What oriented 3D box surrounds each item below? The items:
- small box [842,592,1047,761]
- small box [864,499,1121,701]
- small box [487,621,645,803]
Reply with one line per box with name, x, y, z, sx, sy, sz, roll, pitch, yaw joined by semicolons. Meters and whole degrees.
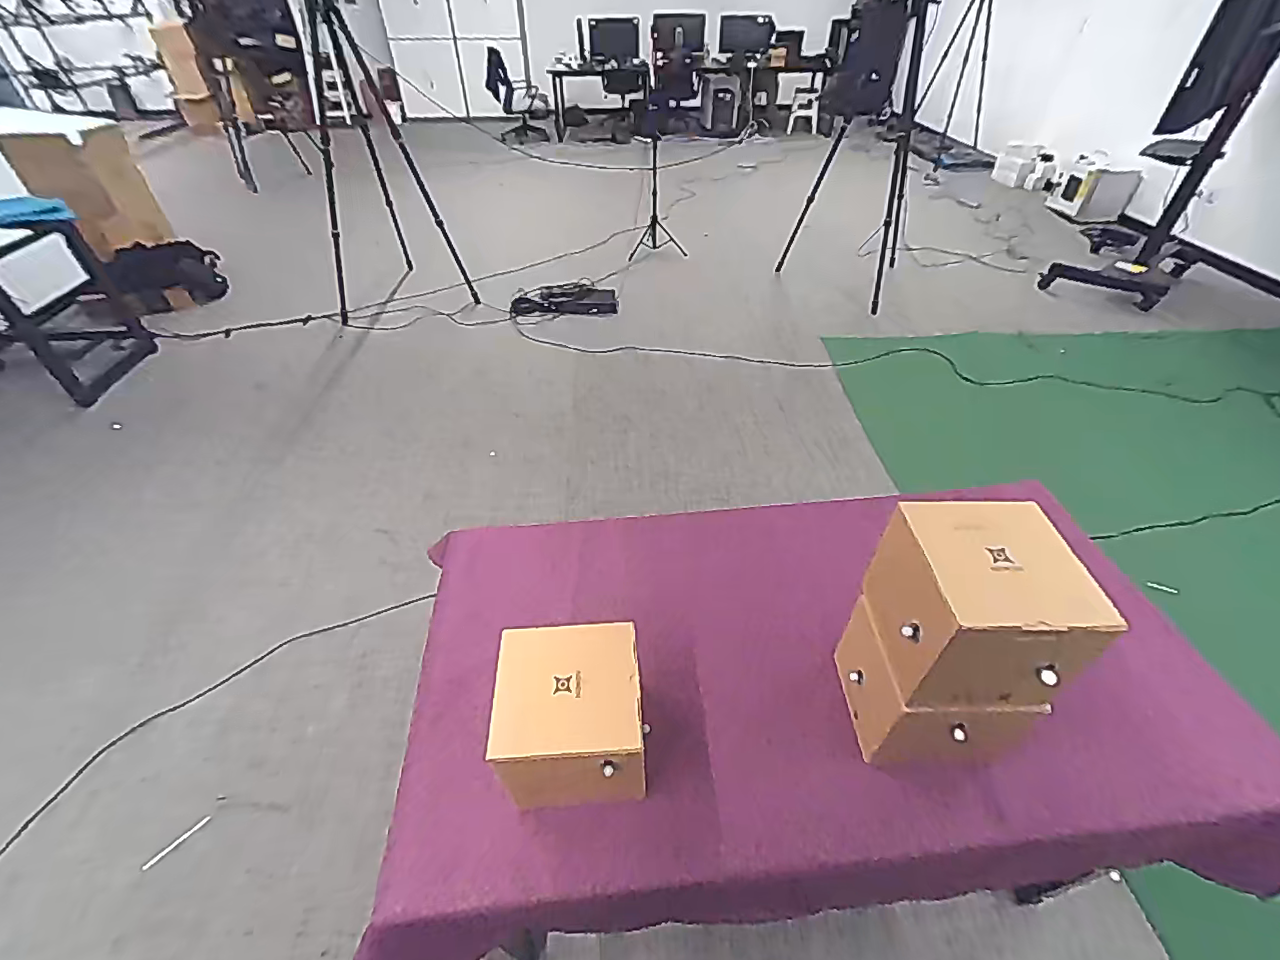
small box;0.389;0.267;0.736;0.179;0.176;0.168;-1;43;1
small box;0.385;0.141;0.633;0.168;0.176;0.179;0;42;1
small box;-0.087;0.308;0.714;0.179;0.176;0.168;-3;42;-2
